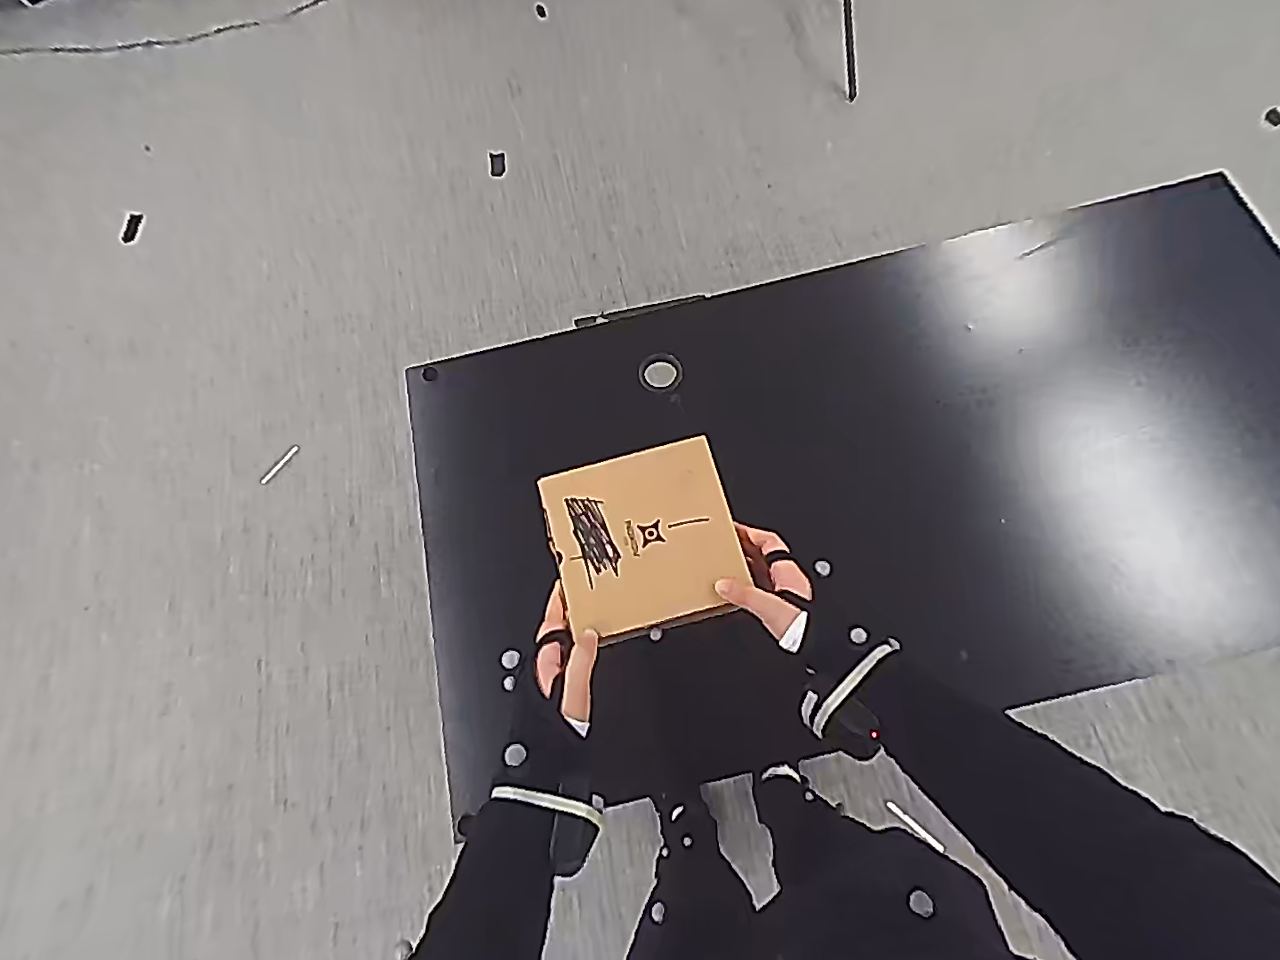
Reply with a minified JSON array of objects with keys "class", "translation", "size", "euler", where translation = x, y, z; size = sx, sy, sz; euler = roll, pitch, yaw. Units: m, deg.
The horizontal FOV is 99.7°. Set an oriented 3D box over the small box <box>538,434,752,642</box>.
[{"class":"small box","translation":[0.006,0.074,0.584],"size":[0.179,0.176,0.168],"euler":[-15,72,-1]}]
